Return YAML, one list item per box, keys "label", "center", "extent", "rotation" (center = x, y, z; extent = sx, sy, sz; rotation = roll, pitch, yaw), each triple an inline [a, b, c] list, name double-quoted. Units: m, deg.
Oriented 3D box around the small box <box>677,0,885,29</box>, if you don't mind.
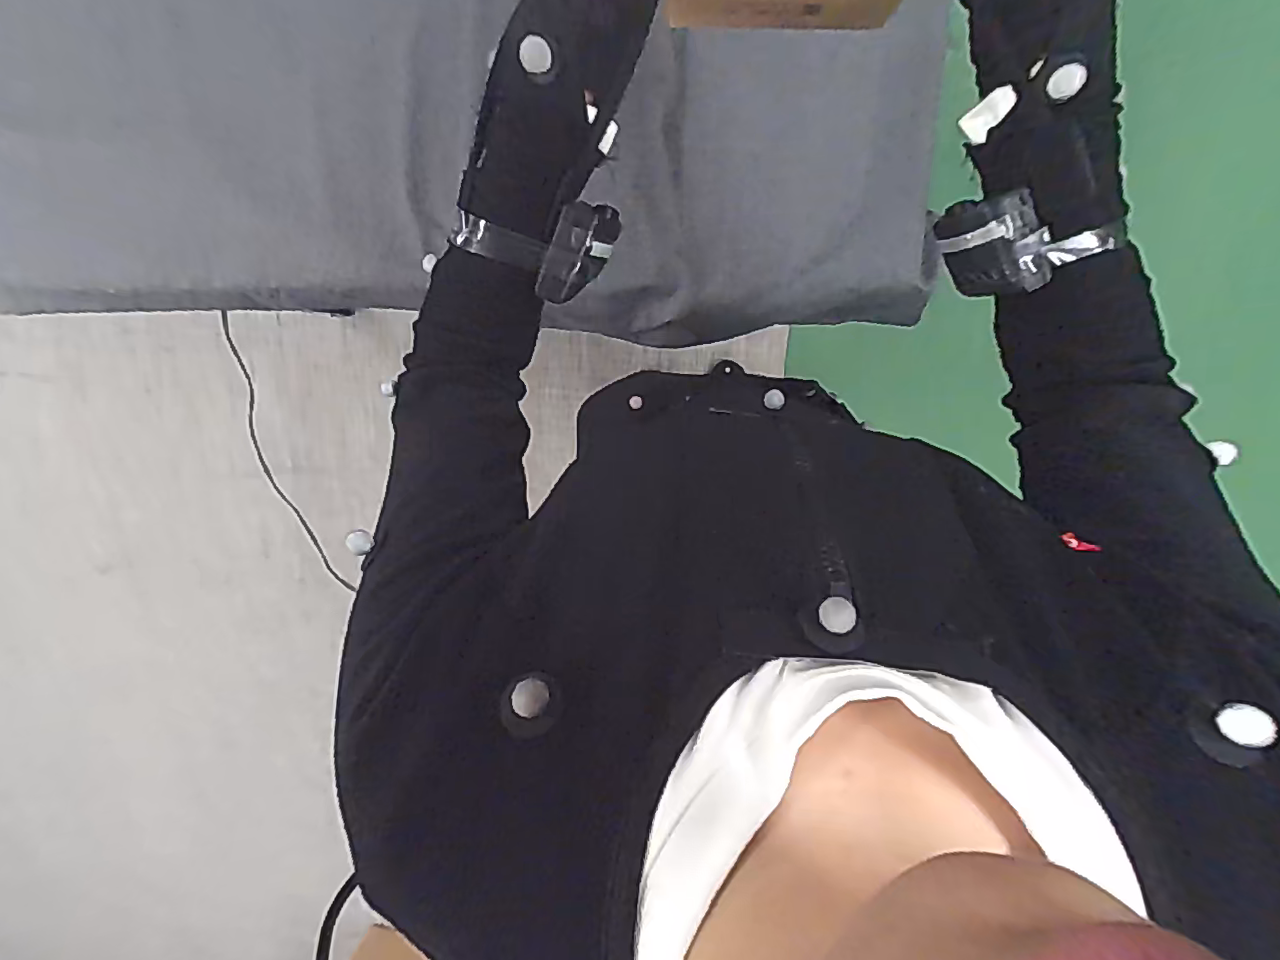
- label: "small box"
  center: [0.099, -0.406, 0.314]
  extent: [0.168, 0.176, 0.179]
  rotation: [2, 104, 0]
